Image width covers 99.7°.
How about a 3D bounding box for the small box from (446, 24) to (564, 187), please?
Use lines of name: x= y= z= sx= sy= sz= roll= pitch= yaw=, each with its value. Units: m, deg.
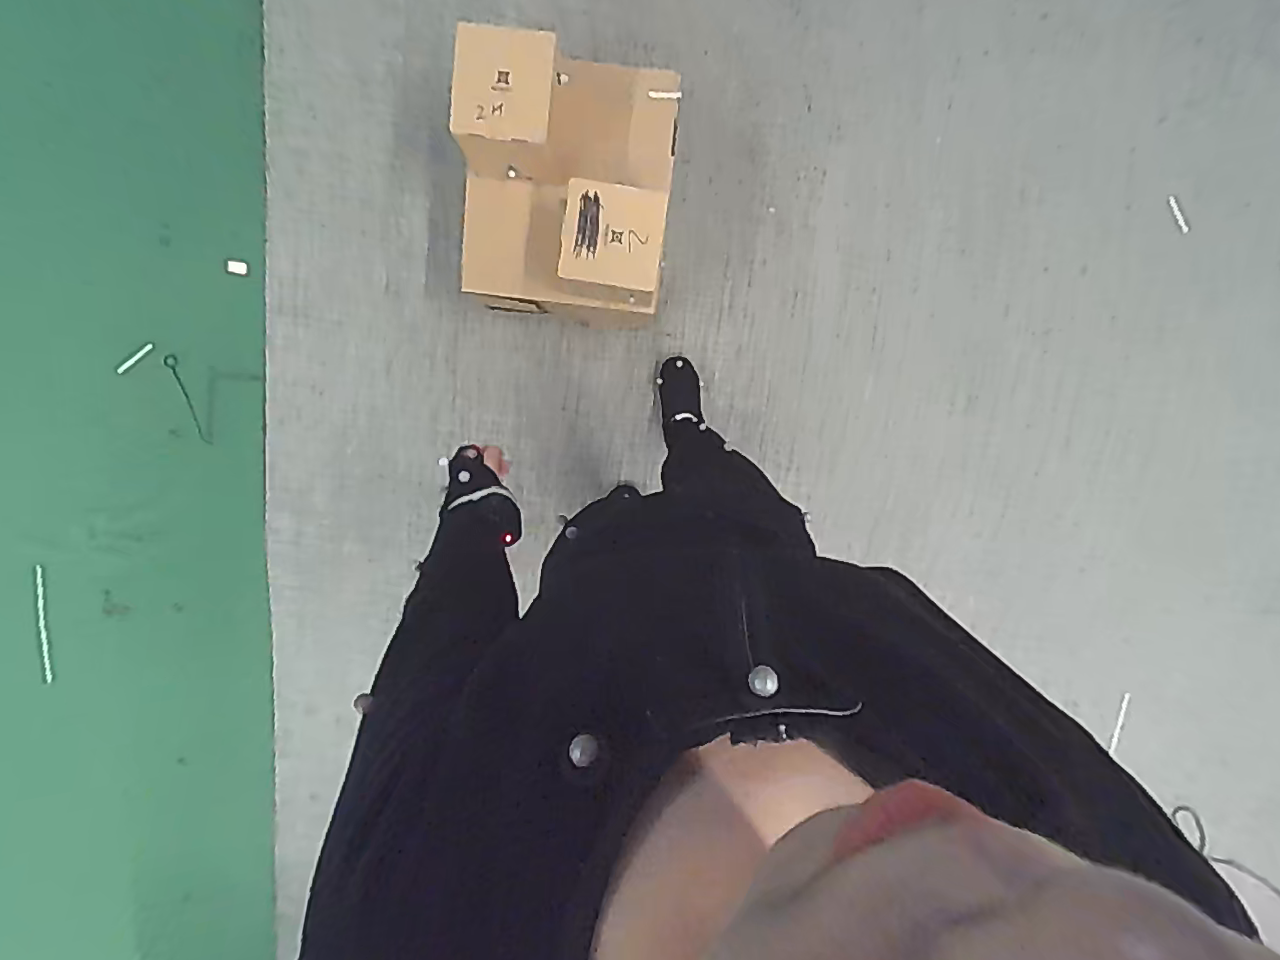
small box: x=-0.235 y=-0.663 z=0.977 sx=0.168 sy=0.176 sz=0.179 roll=6 pitch=96 yaw=0
